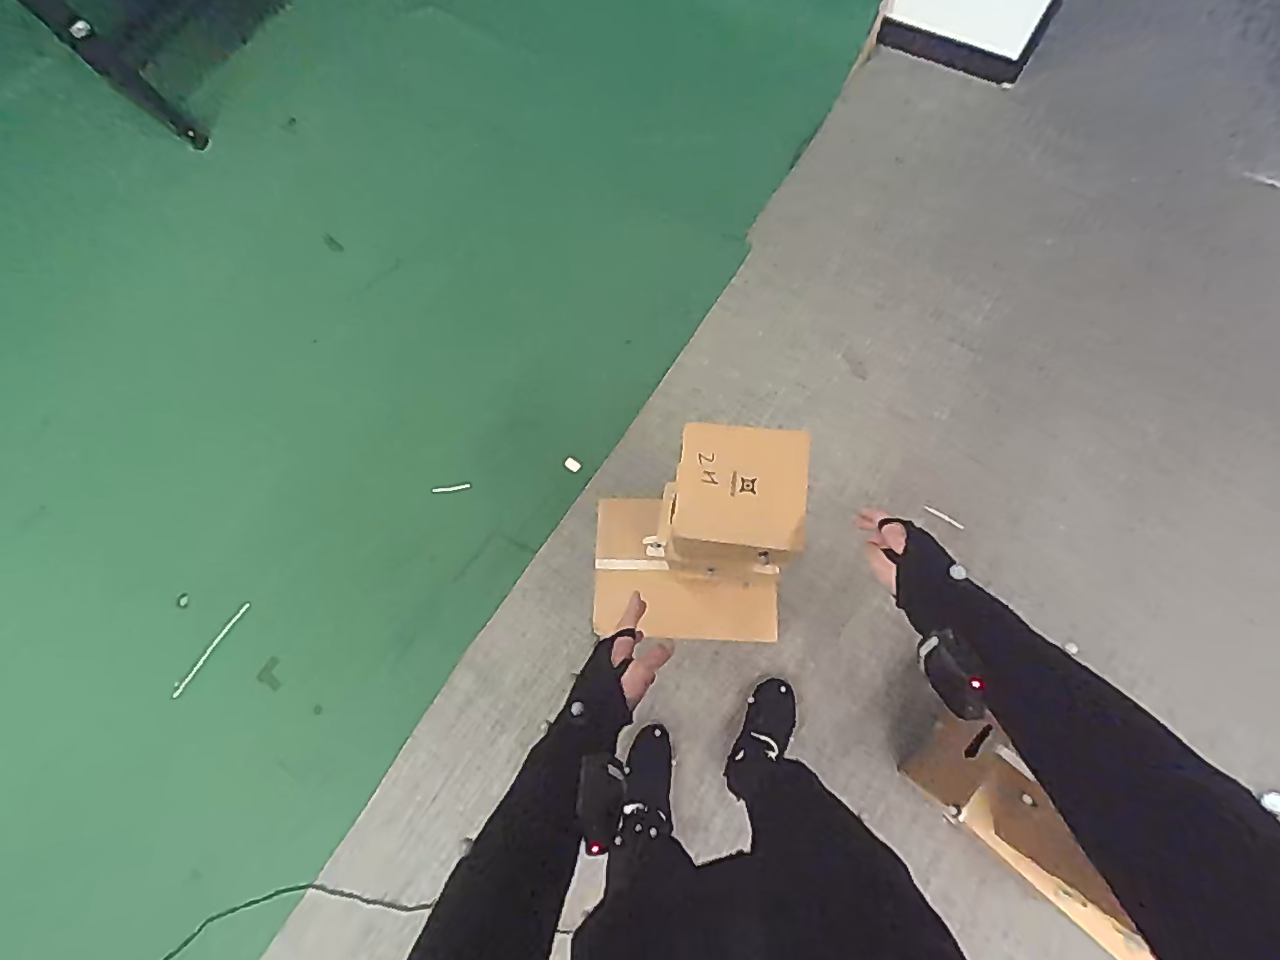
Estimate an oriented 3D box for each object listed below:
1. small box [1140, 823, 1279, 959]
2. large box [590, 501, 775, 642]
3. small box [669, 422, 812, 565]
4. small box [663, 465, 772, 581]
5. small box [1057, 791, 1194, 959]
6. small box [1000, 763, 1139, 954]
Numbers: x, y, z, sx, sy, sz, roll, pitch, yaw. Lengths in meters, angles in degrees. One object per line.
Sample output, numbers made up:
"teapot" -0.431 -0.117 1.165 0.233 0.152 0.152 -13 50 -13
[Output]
"small box" 0.734 0.541 0.610 0.168 0.176 0.179 37 81 13
"large box" 0.109 0.235 1.346 0.408 0.320 0.320 0 74 7
"small box" 0.142 0.028 0.801 0.179 0.176 0.168 7 75 7
"small box" 0.142 0.083 0.958 0.179 0.176 0.168 7 76 7
"small box" 0.747 0.588 0.766 0.168 0.176 0.179 38 81 14
"small box" 0.762 0.626 0.923 0.168 0.176 0.179 39 83 13
